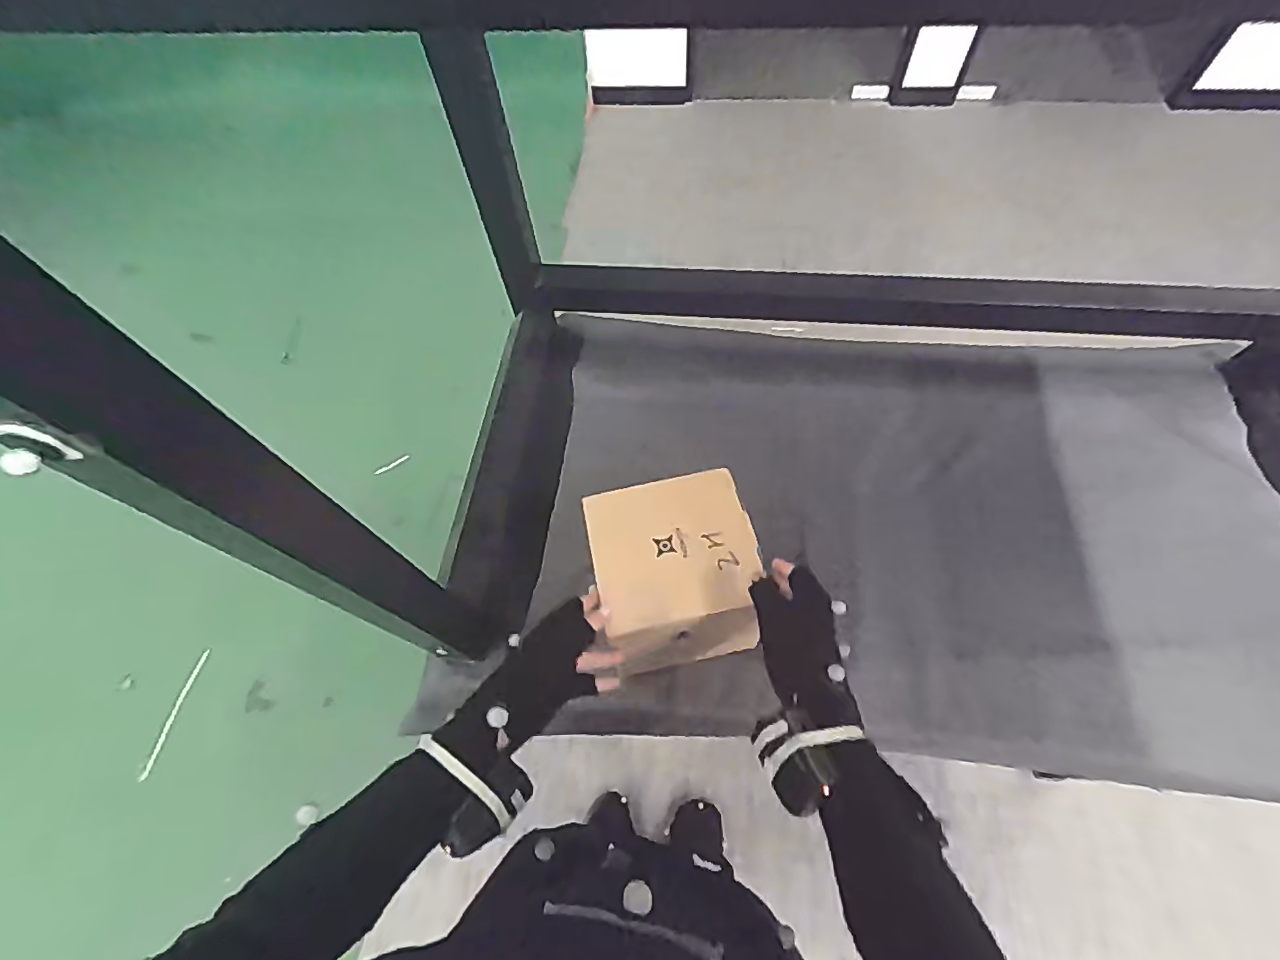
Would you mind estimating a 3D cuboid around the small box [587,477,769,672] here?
[{"bbox_3d":[0.039,0.119,0.645,0.179,0.176,0.168,-8,57,-2],"label":"small box"}]
